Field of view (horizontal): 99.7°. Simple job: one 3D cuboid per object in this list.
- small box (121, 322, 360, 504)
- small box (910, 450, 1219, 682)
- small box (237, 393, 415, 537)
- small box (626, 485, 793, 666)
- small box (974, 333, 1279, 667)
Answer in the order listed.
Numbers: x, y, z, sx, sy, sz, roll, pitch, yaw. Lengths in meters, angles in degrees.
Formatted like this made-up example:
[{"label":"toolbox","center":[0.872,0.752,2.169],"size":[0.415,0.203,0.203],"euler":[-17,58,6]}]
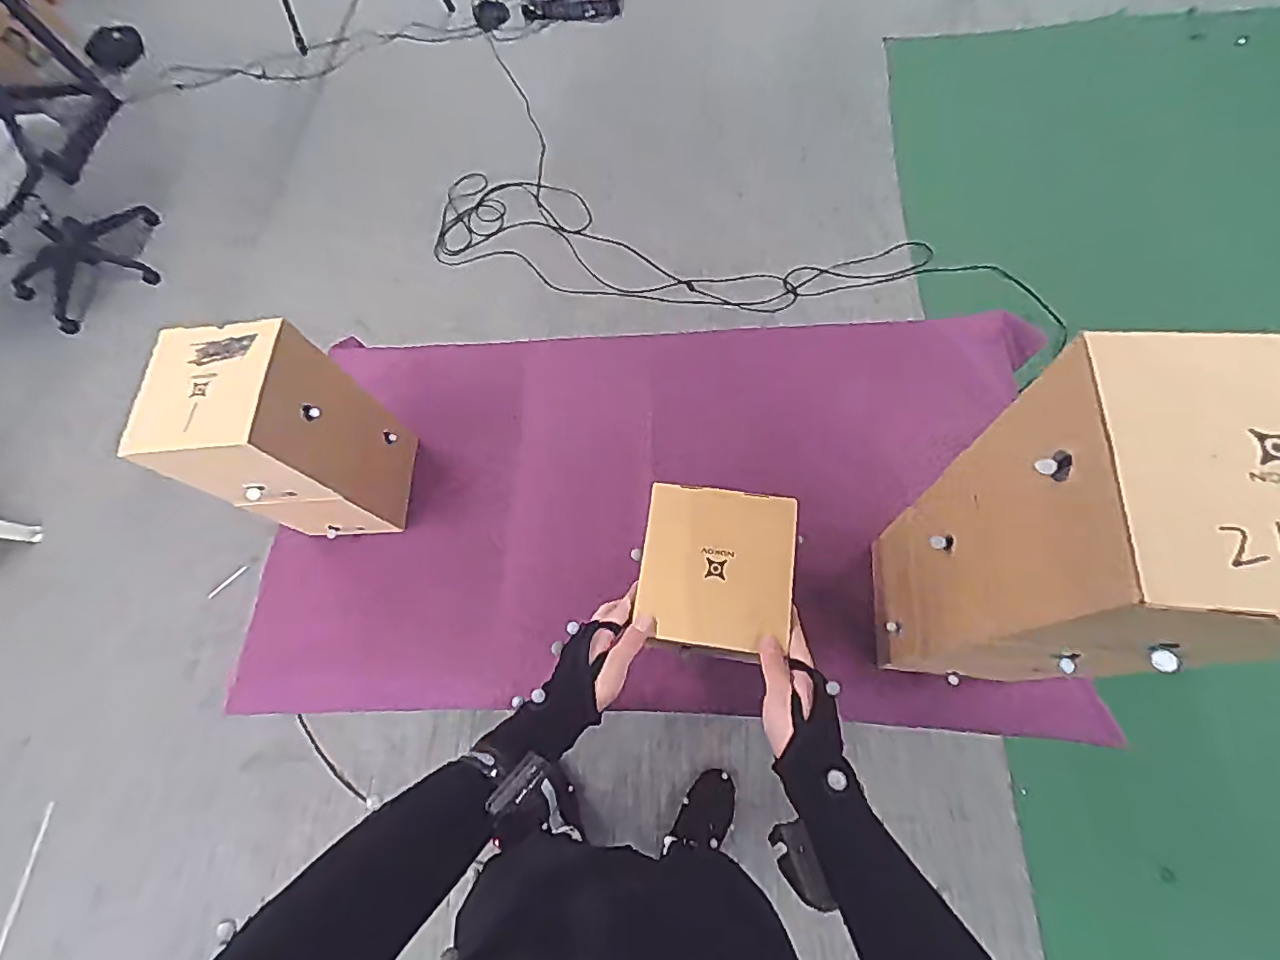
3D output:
[{"label":"small box","center":[-0.501,-0.080,0.711],"size":[0.168,0.176,0.179],"euler":[-4,68,7]},{"label":"small box","center":[0.376,0.089,0.522],"size":[0.168,0.176,0.179],"euler":[3,67,10]},{"label":"small box","center":[-0.482,-0.017,0.861],"size":[0.168,0.176,0.179],"euler":[-3,68,6]},{"label":"small box","center":[0.086,0.124,0.660],"size":[0.168,0.176,0.179],"euler":[7,68,8]},{"label":"small box","center":[0.356,0.023,0.372],"size":[0.168,0.176,0.179],"euler":[4,68,10]}]
